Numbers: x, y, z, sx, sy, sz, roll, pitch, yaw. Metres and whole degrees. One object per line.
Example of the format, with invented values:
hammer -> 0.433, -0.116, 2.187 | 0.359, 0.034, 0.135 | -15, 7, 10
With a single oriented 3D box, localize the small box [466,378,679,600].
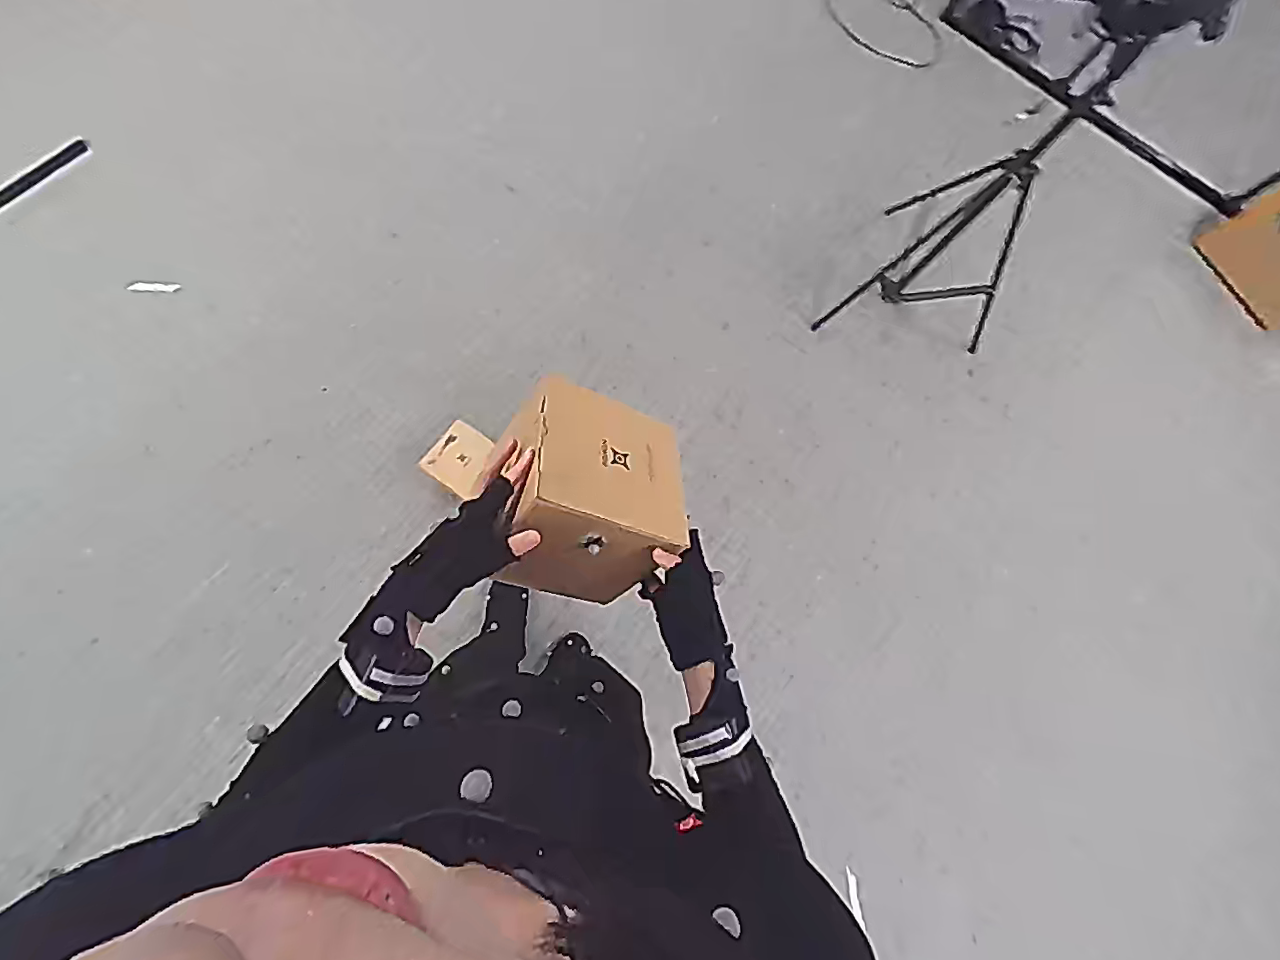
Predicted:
small box -> -0.081, 0.022, 0.615 | 0.179, 0.176, 0.168 | 20, 48, -30

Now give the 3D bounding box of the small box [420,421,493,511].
small box -> -0.468, -0.029, 1.495 | 0.179, 0.176, 0.168 | 36, 74, 2
